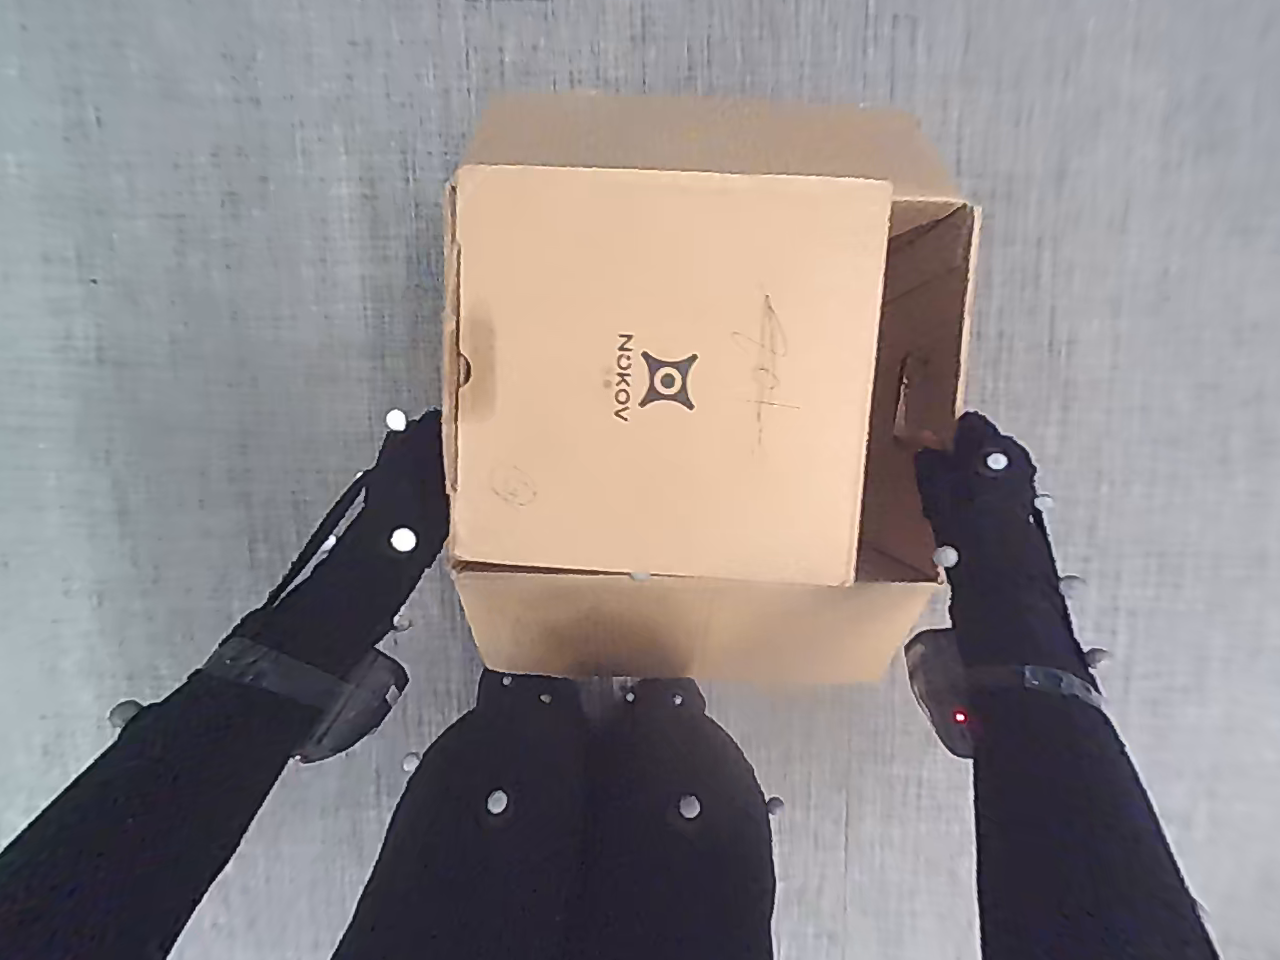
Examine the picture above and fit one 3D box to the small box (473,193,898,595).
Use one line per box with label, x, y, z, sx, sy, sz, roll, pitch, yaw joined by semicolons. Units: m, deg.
small box;0.017;-0.042;0.308;0.179;0.176;0.168;2;97;0
